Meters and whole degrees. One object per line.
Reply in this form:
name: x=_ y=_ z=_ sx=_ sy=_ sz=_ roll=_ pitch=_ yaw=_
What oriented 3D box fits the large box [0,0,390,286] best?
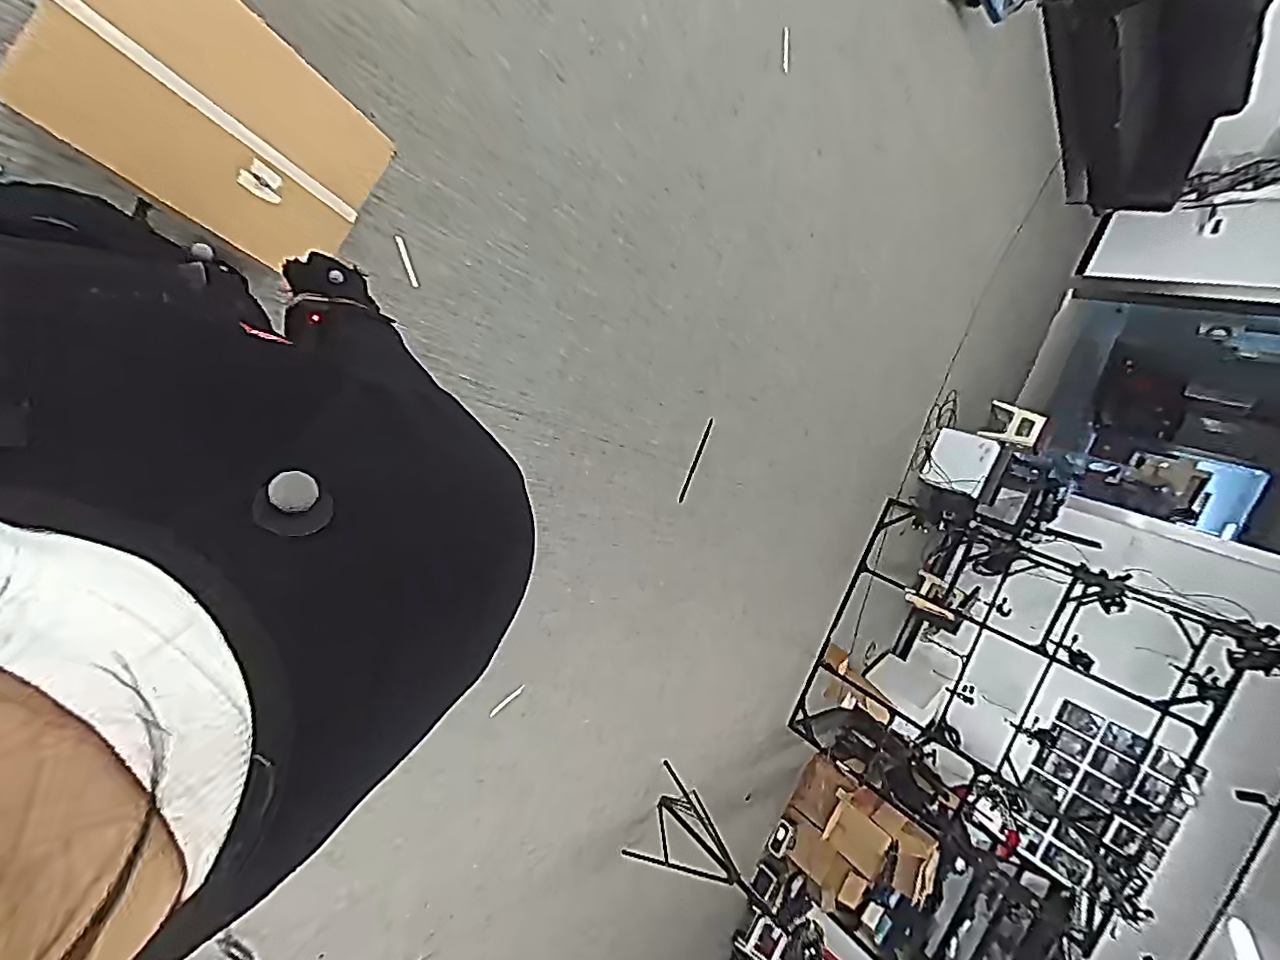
large box: x=-0.734 y=-0.592 z=0.916 sx=0.408 sy=0.320 sz=0.320 roll=33 pitch=85 yaw=-50
